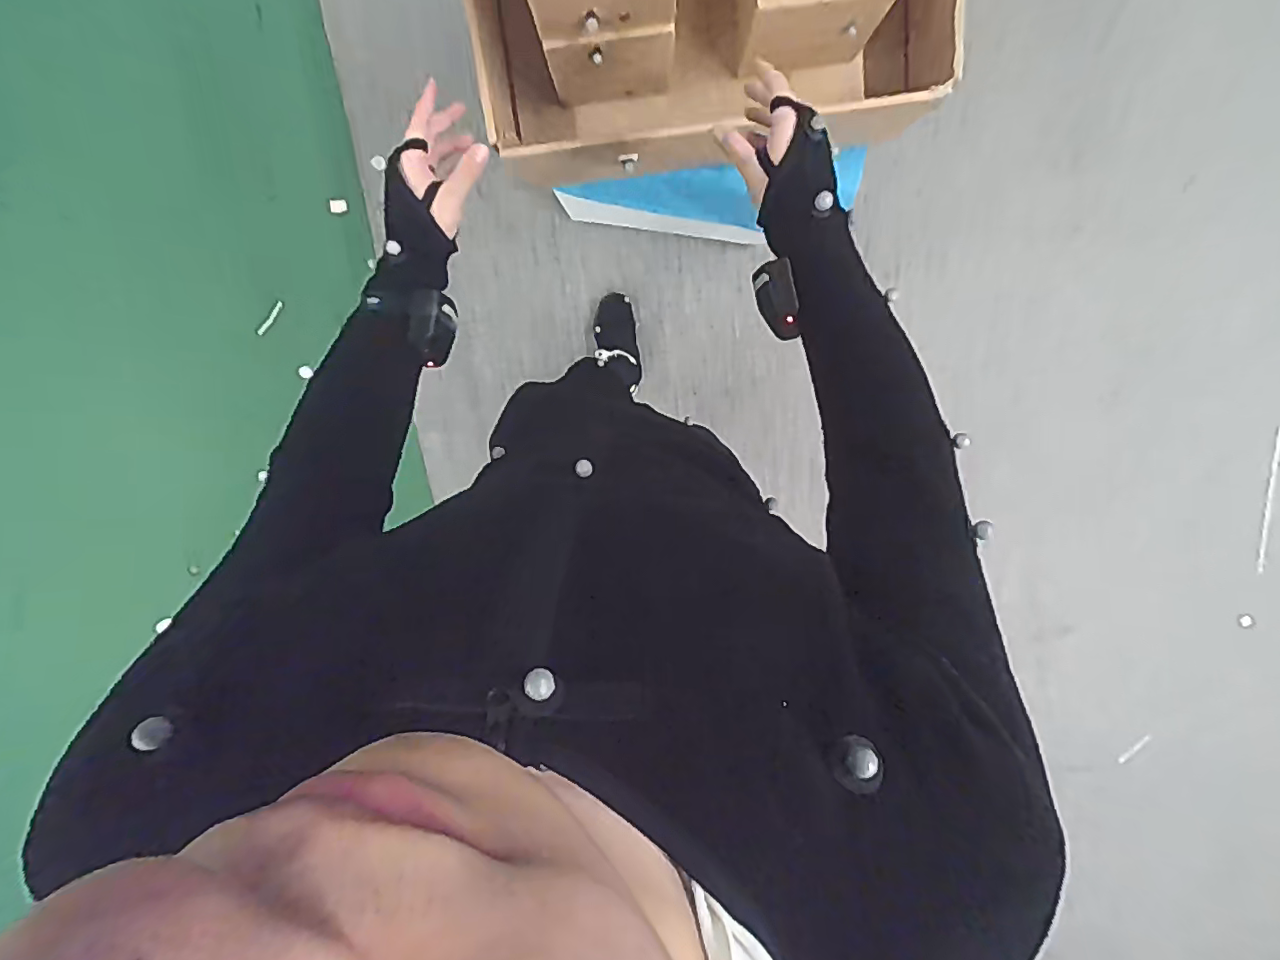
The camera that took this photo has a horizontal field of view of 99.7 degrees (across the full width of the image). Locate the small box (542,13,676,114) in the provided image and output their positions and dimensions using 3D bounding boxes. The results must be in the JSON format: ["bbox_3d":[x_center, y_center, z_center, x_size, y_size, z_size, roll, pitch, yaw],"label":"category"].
[{"bbox_3d":[-0.045,-0.629,0.720,0.168,0.176,0.179,-6,102,2],"label":"small box"}]

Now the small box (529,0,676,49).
[{"bbox_3d":[-0.049,-0.599,0.560,0.168,0.176,0.179,-7,103,2],"label":"small box"}]
